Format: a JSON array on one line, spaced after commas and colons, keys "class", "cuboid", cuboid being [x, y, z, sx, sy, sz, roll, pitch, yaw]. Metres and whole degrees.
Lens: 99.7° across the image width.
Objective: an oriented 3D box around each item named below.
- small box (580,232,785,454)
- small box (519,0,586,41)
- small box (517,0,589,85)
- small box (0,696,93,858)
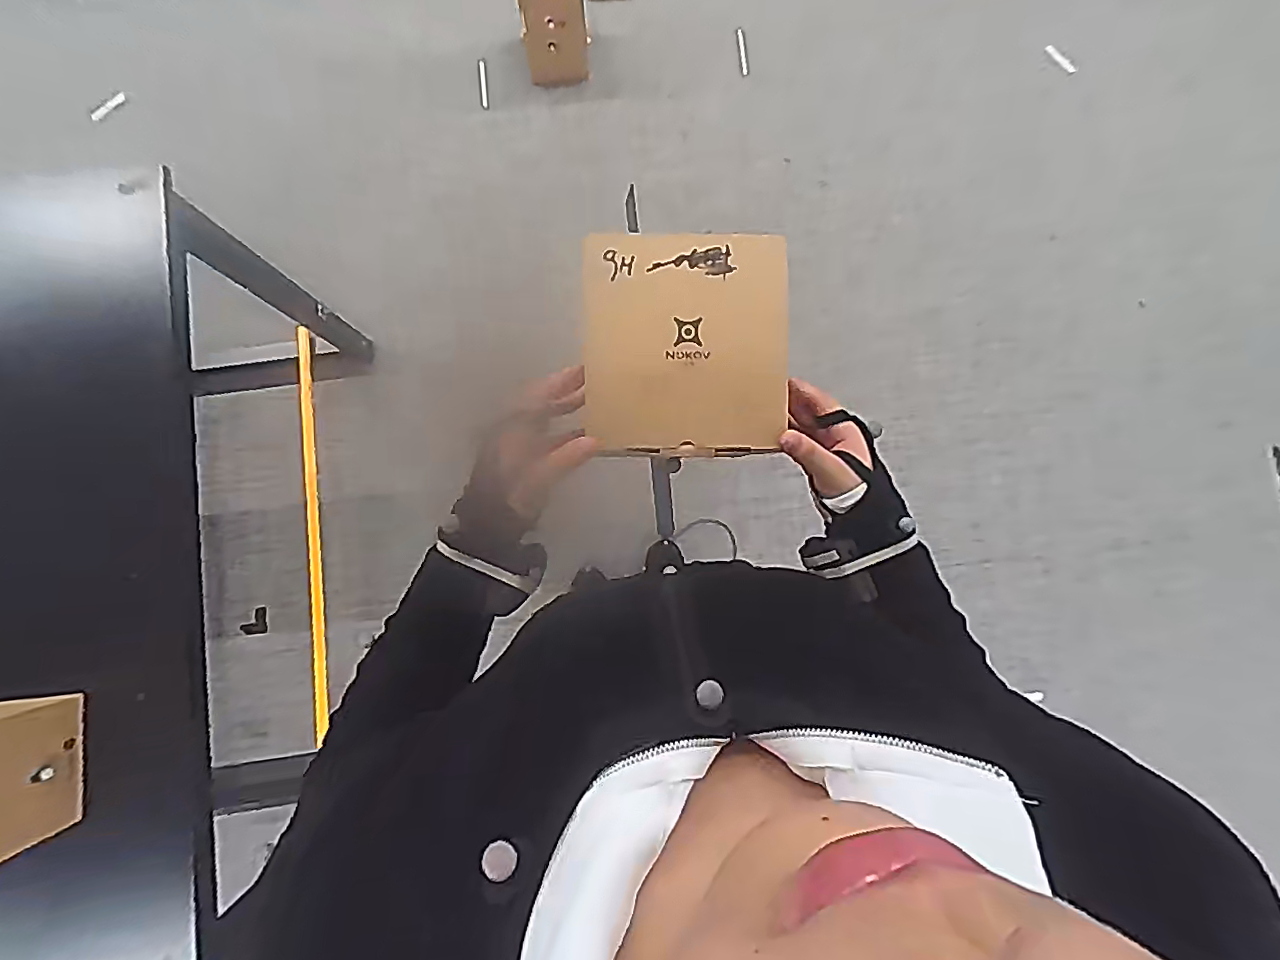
[{"class": "small box", "cuboid": [0.032, -0.114, 0.514, 0.168, 0.176, 0.179, -1, 92, -3]}, {"class": "small box", "cuboid": [-0.241, -1.305, 1.410, 0.168, 0.176, 0.179, -11, 86, -1]}, {"class": "small box", "cuboid": [-0.250, -1.291, 1.571, 0.179, 0.176, 0.168, -8, 85, -3]}, {"class": "small box", "cuboid": [-0.828, 0.372, 0.649, 0.179, 0.176, 0.168, -5, 84, -2]}]
